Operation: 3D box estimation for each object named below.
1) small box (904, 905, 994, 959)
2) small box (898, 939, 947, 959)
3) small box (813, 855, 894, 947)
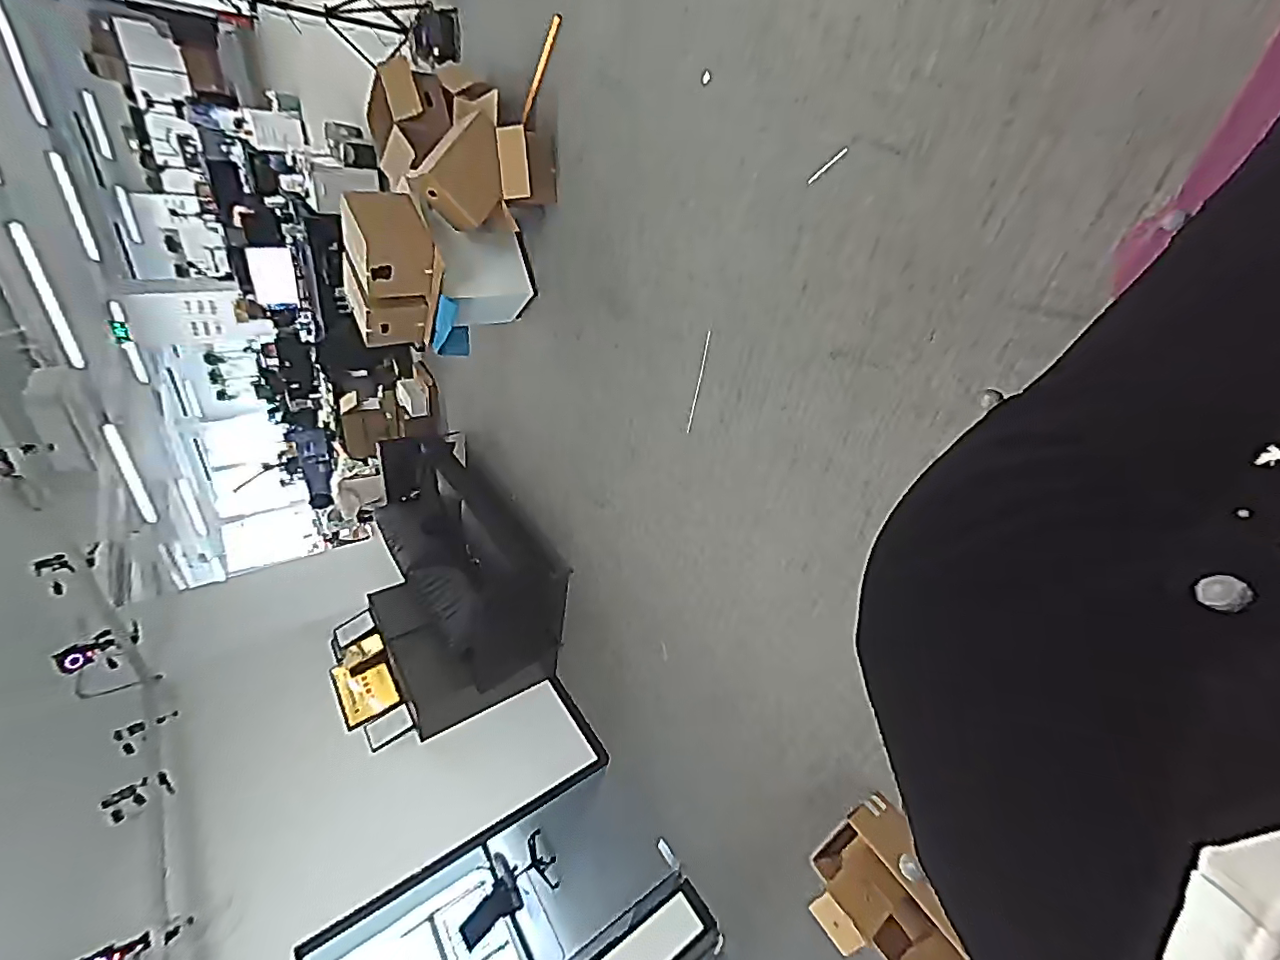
[{"bbox_3d":[1.026,1.567,1.791,0.168,0.176,0.179,45,138,35],"label":"small box"},{"bbox_3d":[0.897,1.604,1.700,0.168,0.176,0.179,46,138,35],"label":"small box"},{"bbox_3d":[0.737,1.446,1.863,0.168,0.176,0.179,45,136,35],"label":"small box"}]
